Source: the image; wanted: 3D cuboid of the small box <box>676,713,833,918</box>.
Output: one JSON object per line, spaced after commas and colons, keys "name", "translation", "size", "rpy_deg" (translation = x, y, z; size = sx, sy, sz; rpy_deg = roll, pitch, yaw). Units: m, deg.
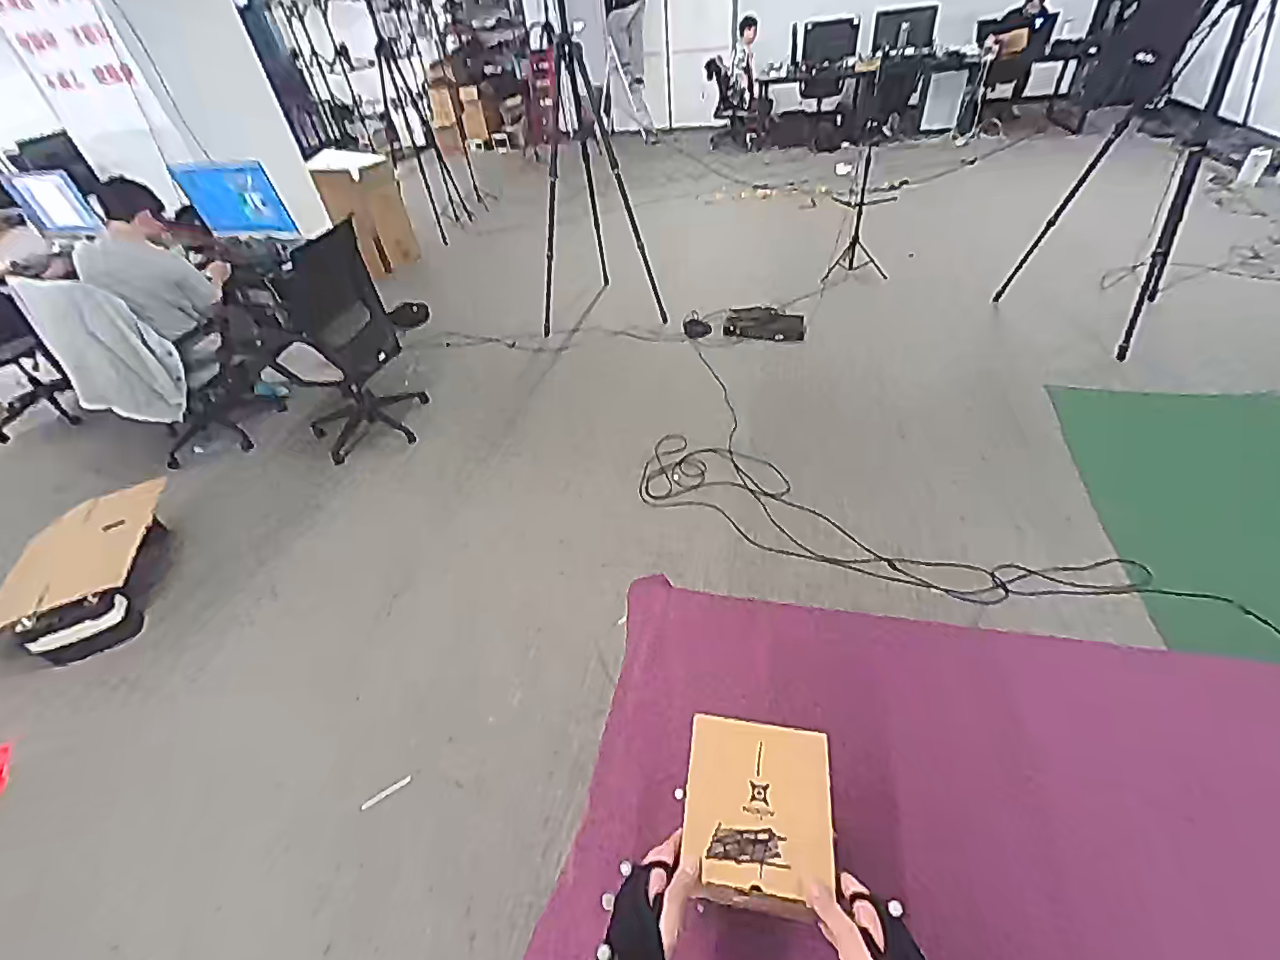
{"name": "small box", "translation": [0.139, 0.423, 0.680], "size": [0.168, 0.176, 0.179], "rpy_deg": [6, 47, 9]}
